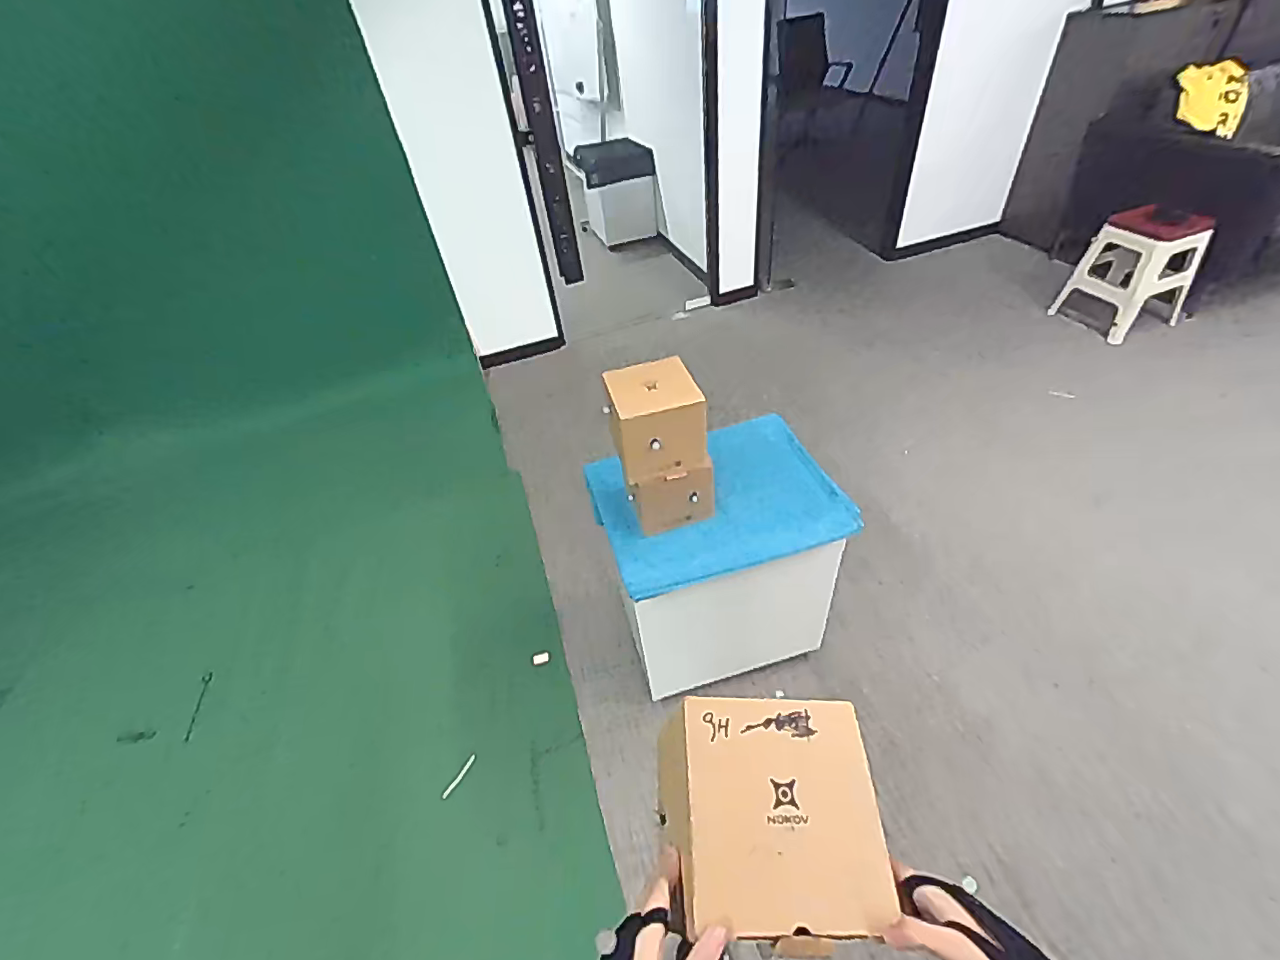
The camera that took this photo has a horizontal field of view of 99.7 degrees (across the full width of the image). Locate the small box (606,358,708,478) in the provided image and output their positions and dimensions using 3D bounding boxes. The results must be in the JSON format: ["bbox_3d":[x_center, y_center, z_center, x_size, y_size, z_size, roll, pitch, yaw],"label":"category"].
[{"bbox_3d":[0.036,-0.120,1.097,0.168,0.176,0.179,-13,41,-7],"label":"small box"}]

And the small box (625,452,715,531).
[{"bbox_3d":[0.064,-0.005,1.208,0.168,0.176,0.179,-14,42,-8],"label":"small box"}]
